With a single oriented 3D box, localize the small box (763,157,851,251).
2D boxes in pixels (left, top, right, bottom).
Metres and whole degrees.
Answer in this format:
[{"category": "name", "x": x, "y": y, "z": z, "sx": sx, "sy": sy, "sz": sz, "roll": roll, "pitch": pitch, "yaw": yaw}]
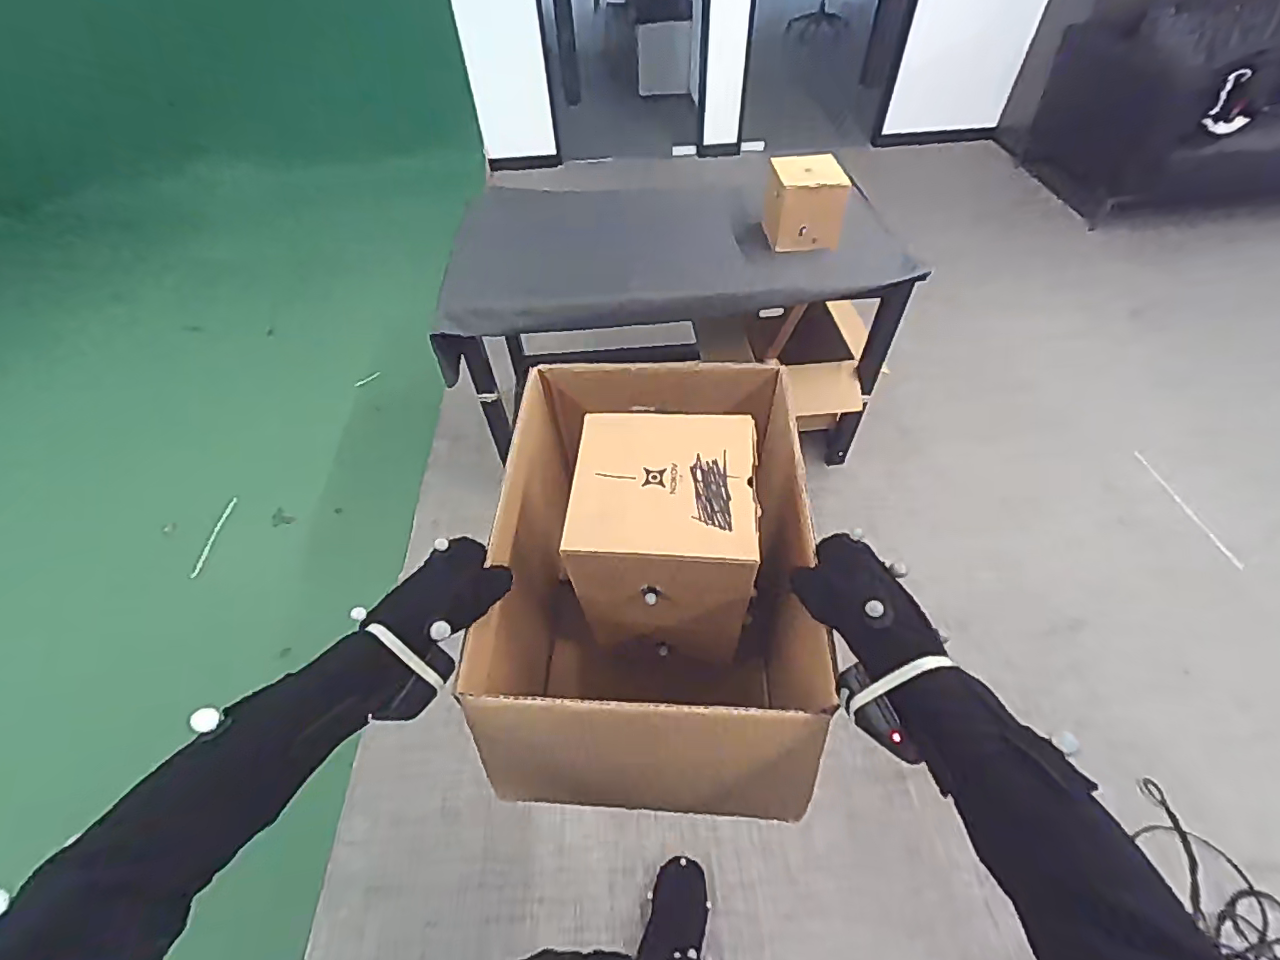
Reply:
[{"category": "small box", "x": 0.428, "y": -0.724, "z": 1.421, "sx": 0.168, "sy": 0.176, "sz": 0.179, "roll": -4, "pitch": 51, "yaw": -1}]
